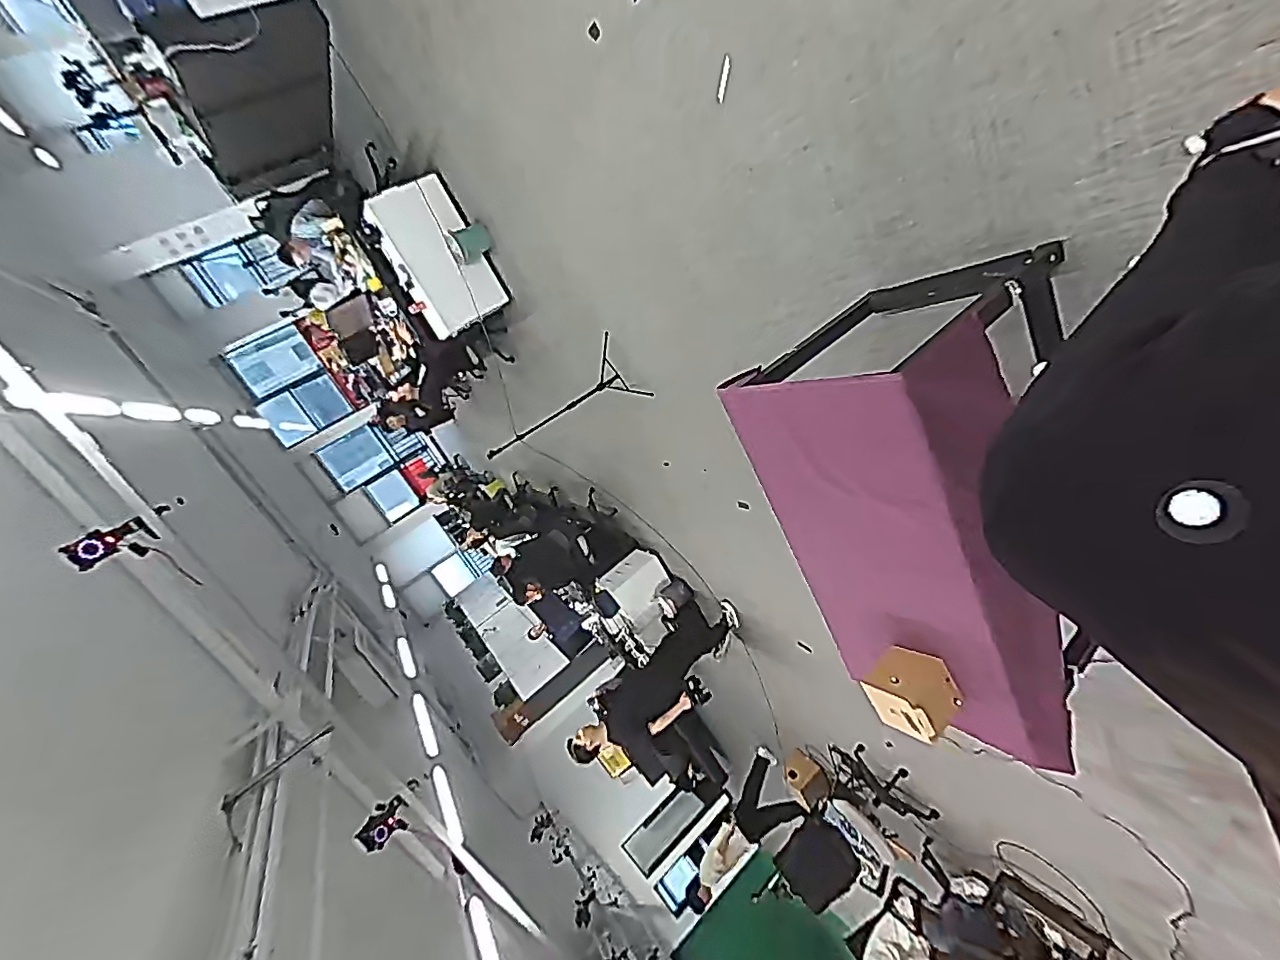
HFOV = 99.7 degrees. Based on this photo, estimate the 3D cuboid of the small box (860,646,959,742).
[{"bbox_3d":[0.789,0.611,1.569,0.168,0.176,0.179,58,159,-11],"label":"small box"}]
